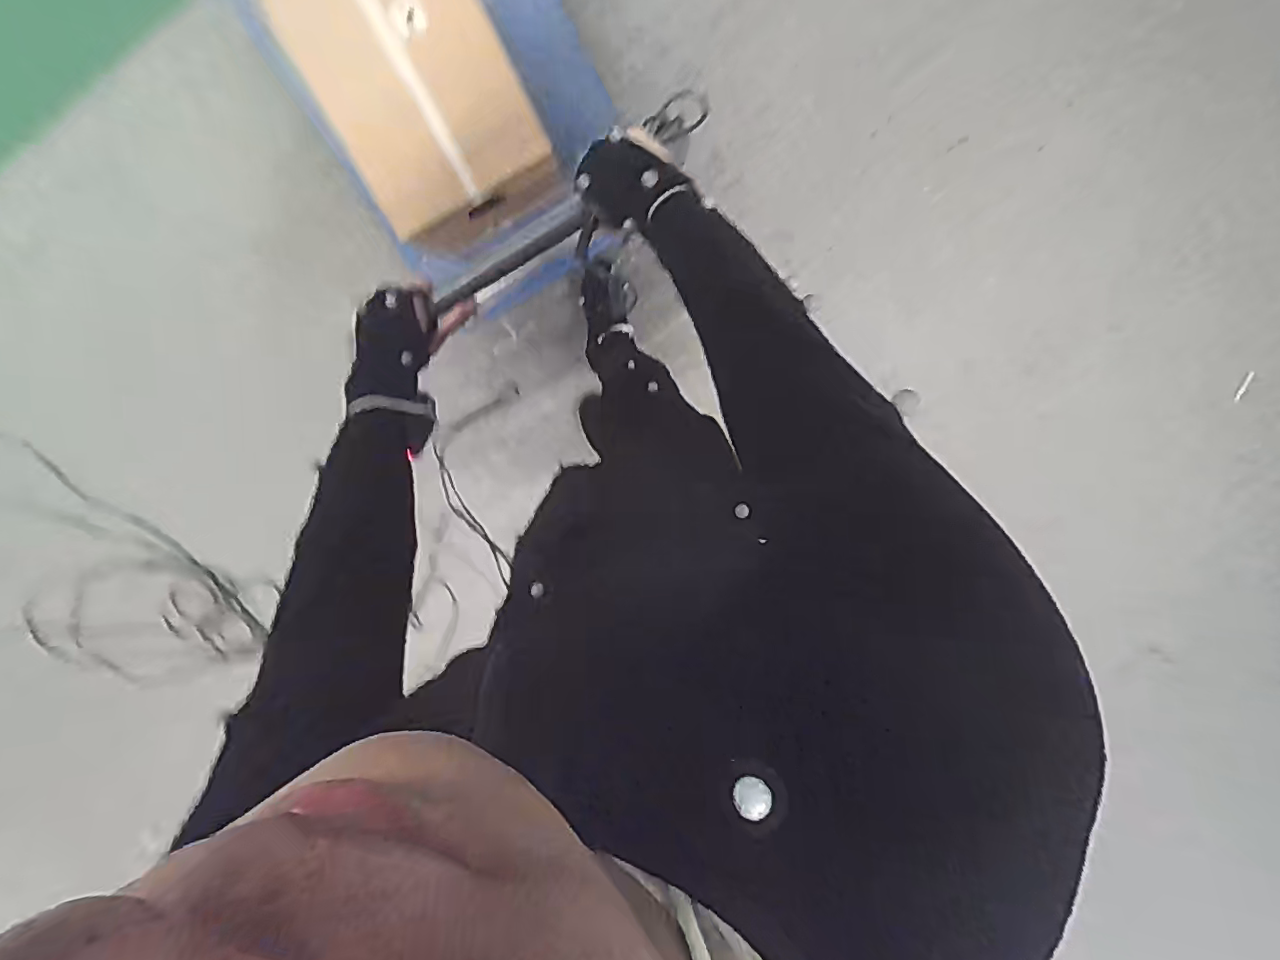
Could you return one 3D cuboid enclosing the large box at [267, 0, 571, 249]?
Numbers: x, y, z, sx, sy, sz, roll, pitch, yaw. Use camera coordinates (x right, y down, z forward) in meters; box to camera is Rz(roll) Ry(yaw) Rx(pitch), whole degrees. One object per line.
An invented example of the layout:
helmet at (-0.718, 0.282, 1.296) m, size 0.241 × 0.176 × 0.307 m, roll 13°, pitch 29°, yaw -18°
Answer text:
large box at (-0.372, -0.713, 1.026) m, size 0.320 × 0.320 × 0.408 m, roll -26°, pitch 107°, yaw 6°
